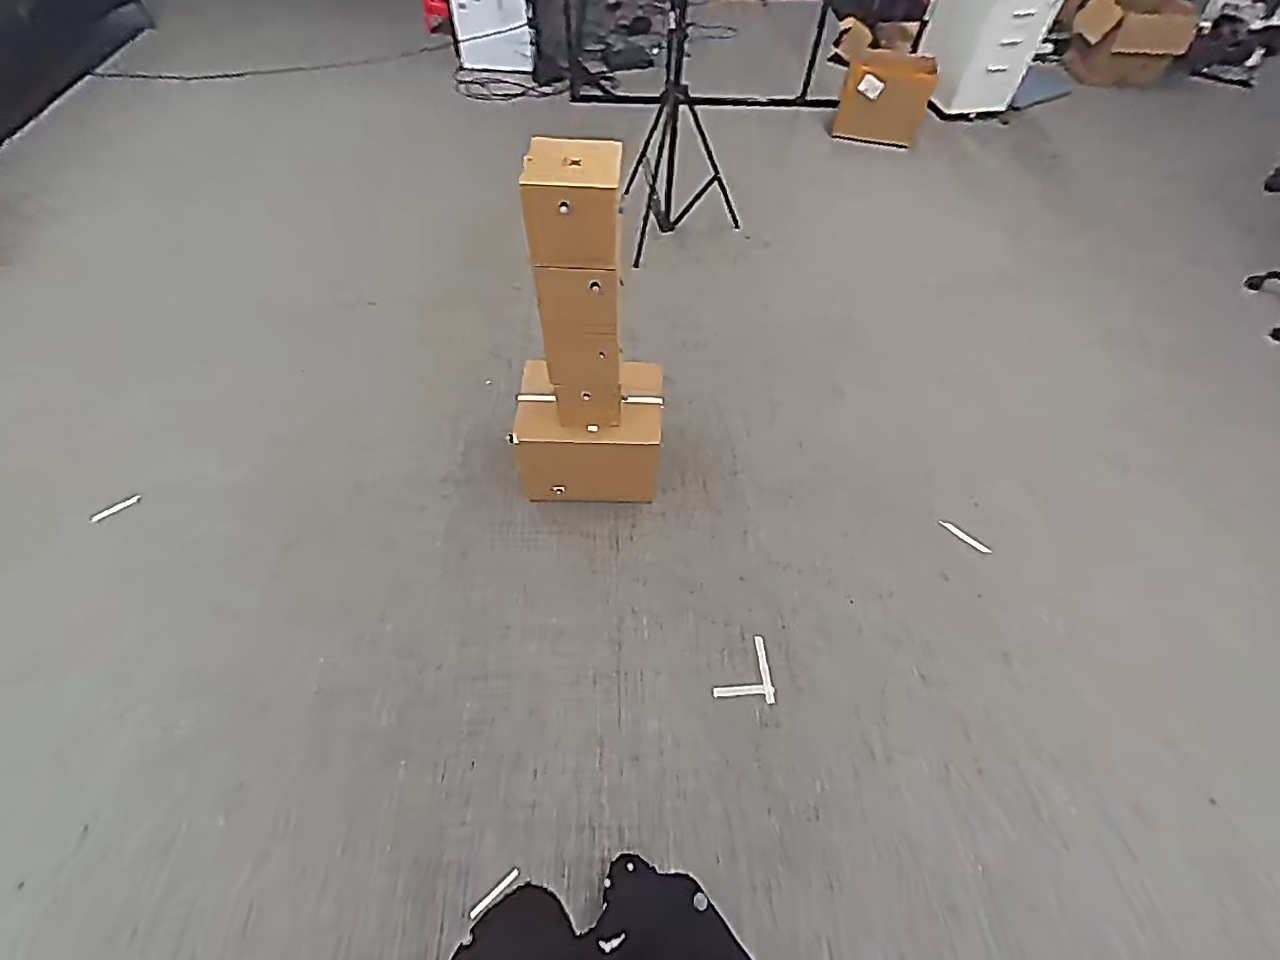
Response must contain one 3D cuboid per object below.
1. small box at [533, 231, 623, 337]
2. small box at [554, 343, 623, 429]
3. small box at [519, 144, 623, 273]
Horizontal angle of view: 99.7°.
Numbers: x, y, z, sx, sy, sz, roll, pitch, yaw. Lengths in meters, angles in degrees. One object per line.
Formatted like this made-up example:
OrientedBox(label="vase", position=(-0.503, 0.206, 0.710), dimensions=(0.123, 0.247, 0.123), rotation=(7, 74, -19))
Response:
OrientedBox(label="small box", position=(-0.129, -0.436, 1.196), dimensions=(0.179, 0.176, 0.168), rotation=(2, 56, 0))
OrientedBox(label="small box", position=(-0.135, -0.251, 1.468), dimensions=(0.179, 0.176, 0.168), rotation=(0, 57, -3))
OrientedBox(label="small box", position=(-0.125, -0.526, 1.061), dimensions=(0.179, 0.176, 0.168), rotation=(2, 57, 0))
